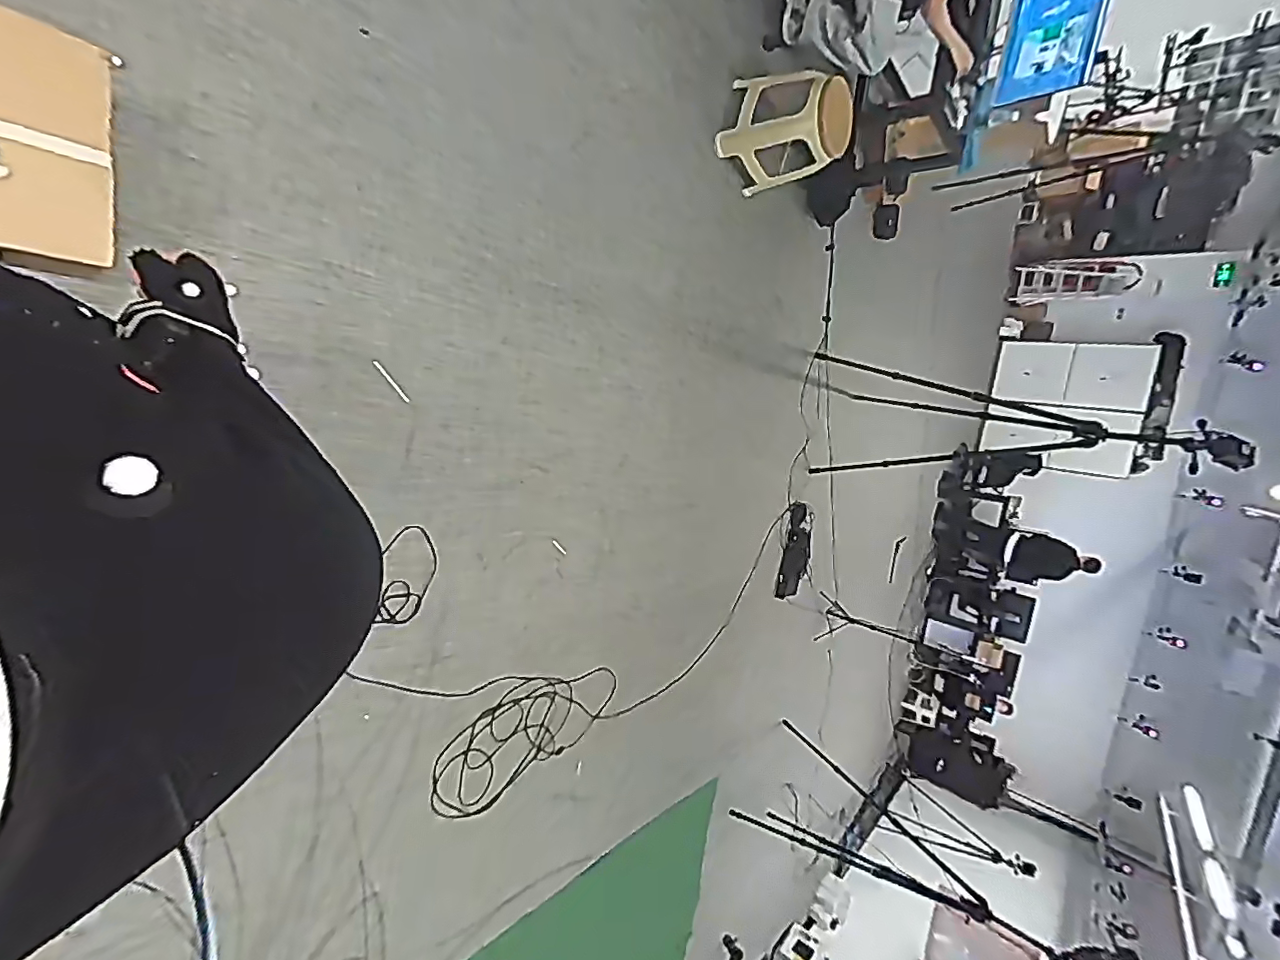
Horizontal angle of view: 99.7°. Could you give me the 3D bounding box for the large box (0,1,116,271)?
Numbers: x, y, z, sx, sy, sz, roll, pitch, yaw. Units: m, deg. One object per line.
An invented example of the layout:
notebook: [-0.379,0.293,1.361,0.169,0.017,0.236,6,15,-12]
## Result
large box: [-1.048,-0.514,0.769,0.408,0.320,0.320,-2,103,-50]
